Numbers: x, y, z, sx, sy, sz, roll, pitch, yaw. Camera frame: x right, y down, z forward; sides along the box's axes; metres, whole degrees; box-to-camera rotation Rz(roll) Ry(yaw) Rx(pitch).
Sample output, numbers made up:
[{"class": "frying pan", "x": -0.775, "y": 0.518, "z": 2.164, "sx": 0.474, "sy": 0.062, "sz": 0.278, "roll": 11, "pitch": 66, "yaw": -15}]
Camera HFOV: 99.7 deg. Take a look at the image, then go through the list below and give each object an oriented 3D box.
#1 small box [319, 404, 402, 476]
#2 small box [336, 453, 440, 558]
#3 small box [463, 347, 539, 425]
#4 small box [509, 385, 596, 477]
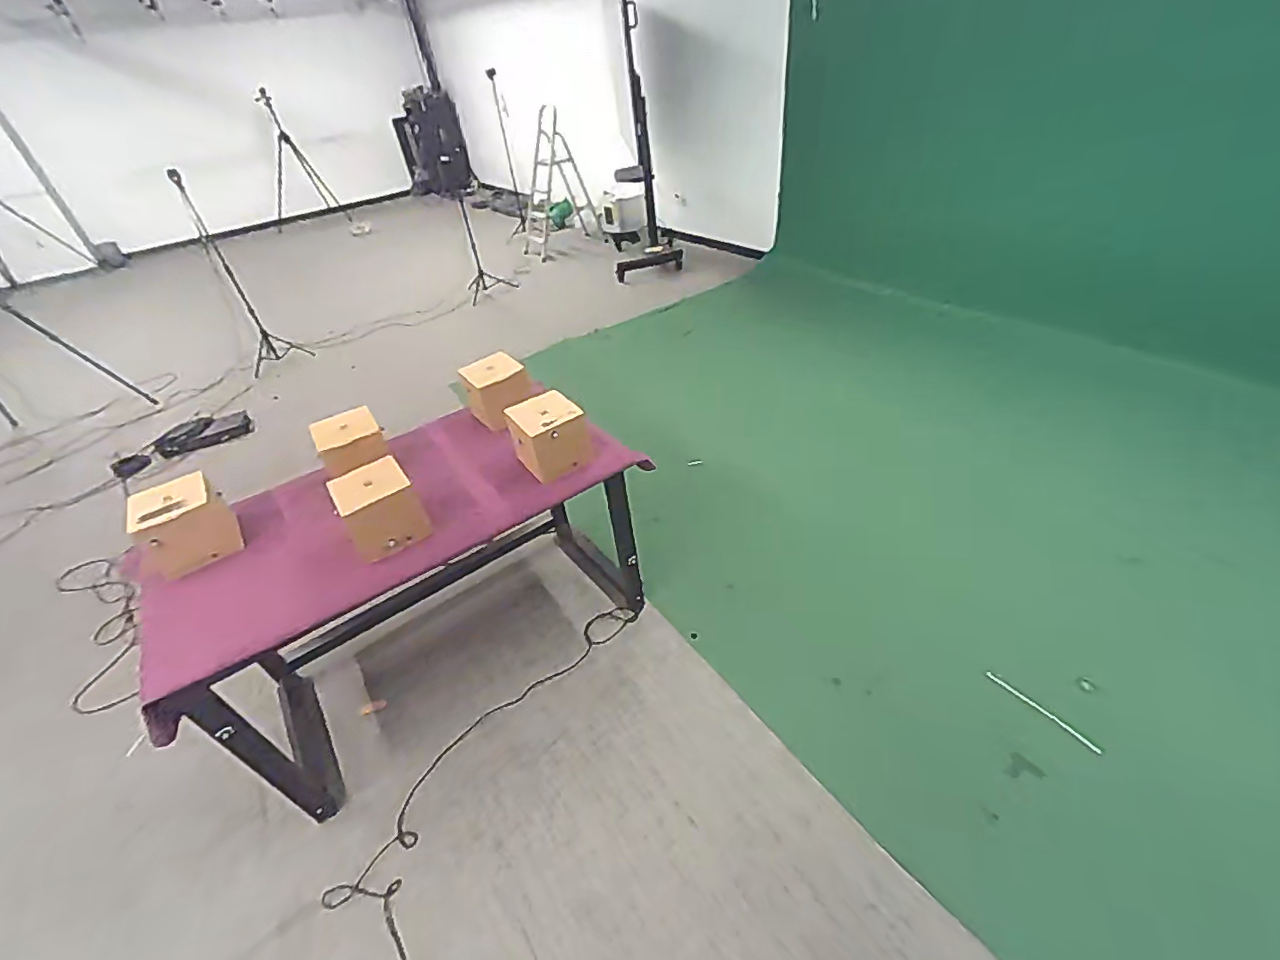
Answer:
[{"class": "small box", "x": -0.814, "y": -0.094, "z": 1.595, "sx": 0.168, "sy": 0.176, "sz": 0.179, "roll": -27, "pitch": 45, "yaw": -22}, {"class": "small box", "x": -0.636, "y": 0.064, "z": 1.372, "sx": 0.168, "sy": 0.176, "sz": 0.179, "roll": -30, "pitch": 43, "yaw": -22}, {"class": "small box", "x": -0.449, "y": -0.306, "z": 1.768, "sx": 0.168, "sy": 0.176, "sz": 0.179, "roll": -32, "pitch": 46, "yaw": -21}, {"class": "small box", "x": -0.244, "y": -0.138, "z": 1.532, "sx": 0.168, "sy": 0.176, "sz": 0.179, "roll": -30, "pitch": 44, "yaw": -21}]
